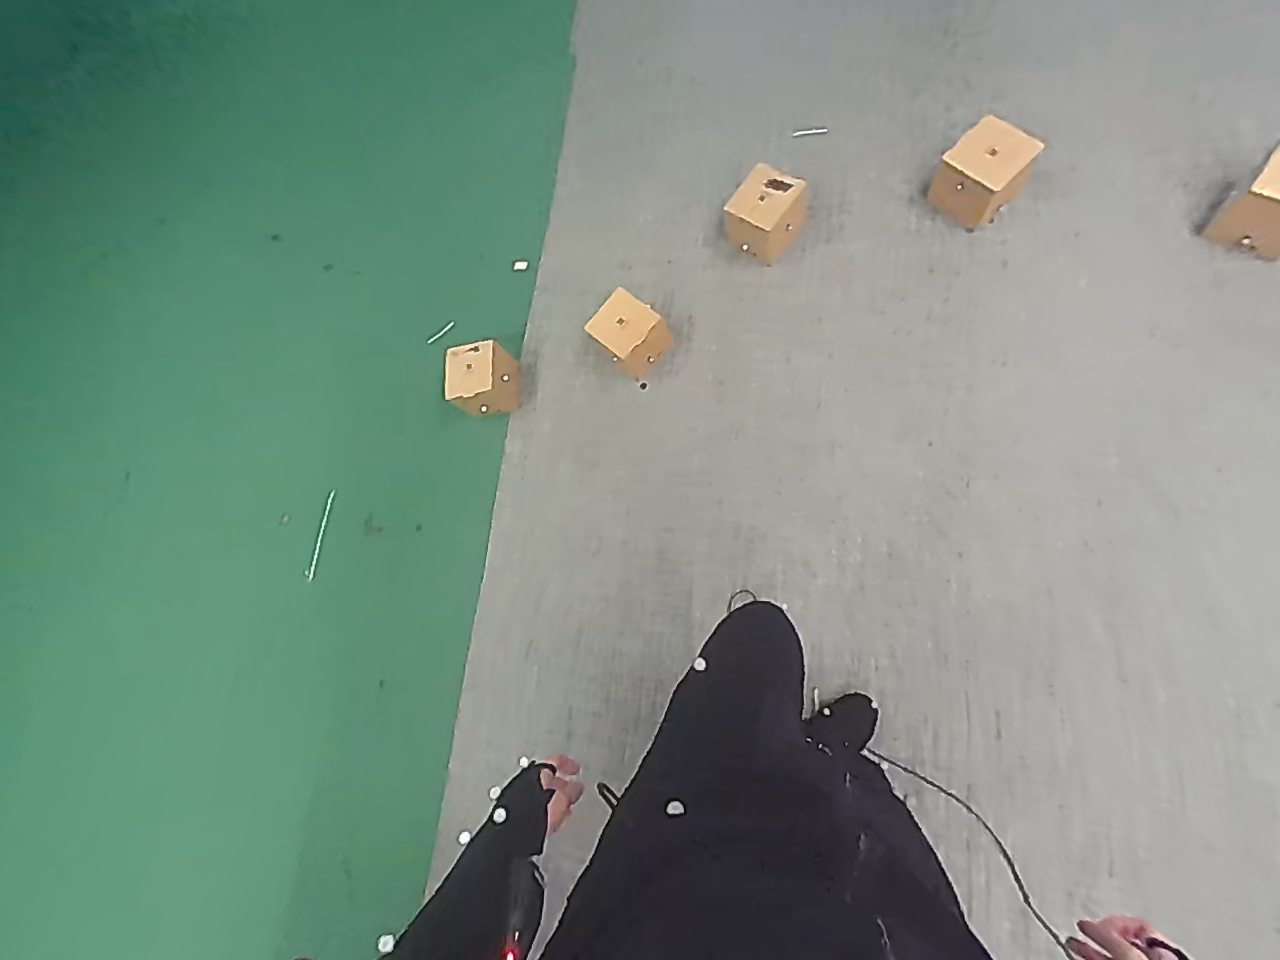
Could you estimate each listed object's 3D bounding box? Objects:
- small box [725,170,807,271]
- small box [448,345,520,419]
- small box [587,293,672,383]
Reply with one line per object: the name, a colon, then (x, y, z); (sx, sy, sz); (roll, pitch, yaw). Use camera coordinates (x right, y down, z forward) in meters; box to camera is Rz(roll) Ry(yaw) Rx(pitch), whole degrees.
small box: (0.377, -0.768, 1.613); (0.168, 0.176, 0.179); (38, 89, 21)
small box: (-0.498, -0.307, 1.747); (0.168, 0.176, 0.179); (-7, 75, 14)
small box: (-0.027, -0.423, 1.643); (0.179, 0.176, 0.168); (41, 90, 20)
